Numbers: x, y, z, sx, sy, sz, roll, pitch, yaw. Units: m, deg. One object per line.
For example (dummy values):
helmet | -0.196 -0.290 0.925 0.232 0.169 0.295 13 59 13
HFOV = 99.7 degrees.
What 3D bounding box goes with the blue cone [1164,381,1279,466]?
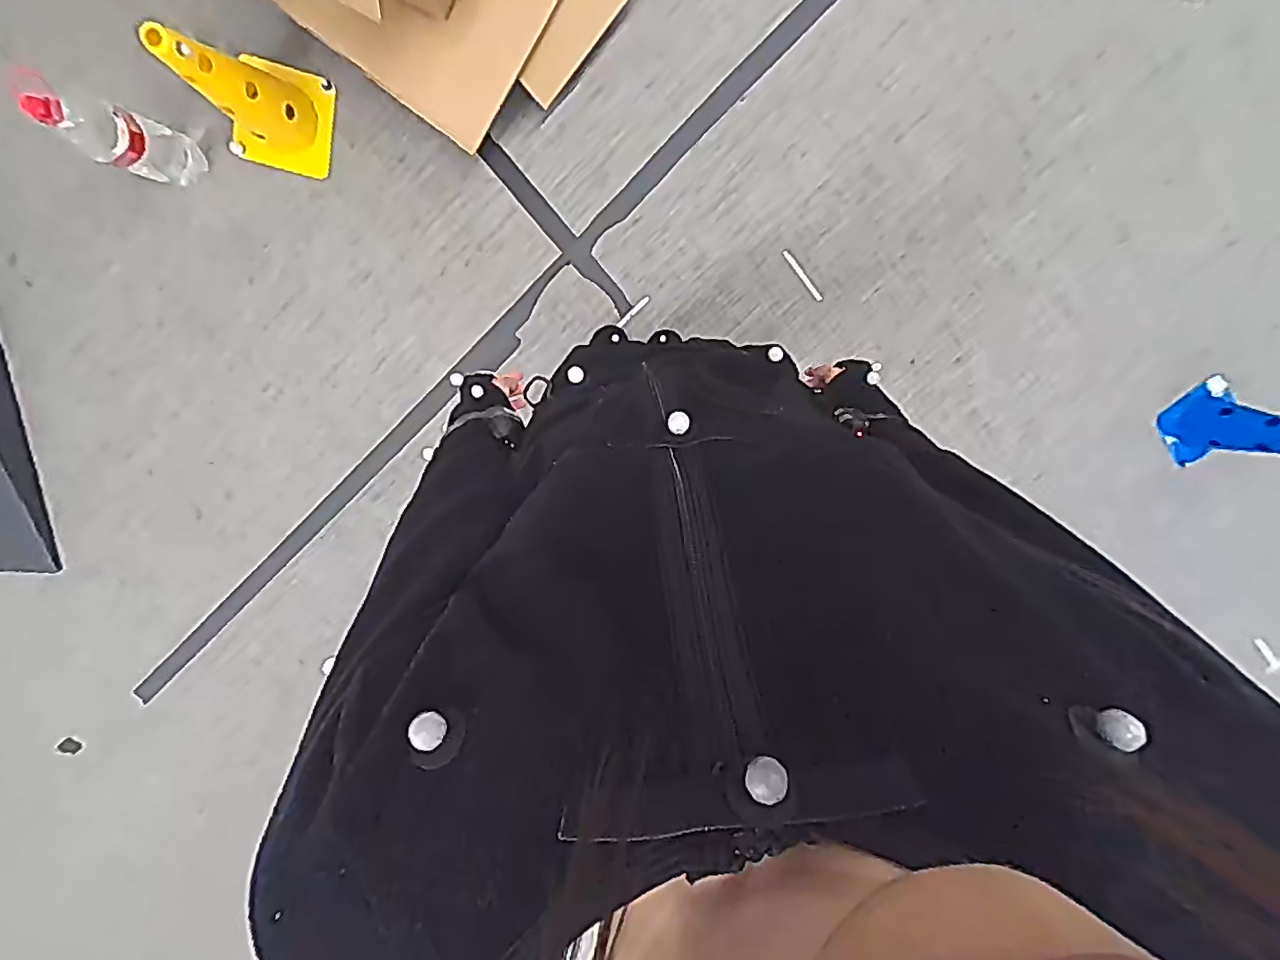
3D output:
blue cone | 1.572 -0.110 1.343 0.193 0.380 0.192 -38 106 8
